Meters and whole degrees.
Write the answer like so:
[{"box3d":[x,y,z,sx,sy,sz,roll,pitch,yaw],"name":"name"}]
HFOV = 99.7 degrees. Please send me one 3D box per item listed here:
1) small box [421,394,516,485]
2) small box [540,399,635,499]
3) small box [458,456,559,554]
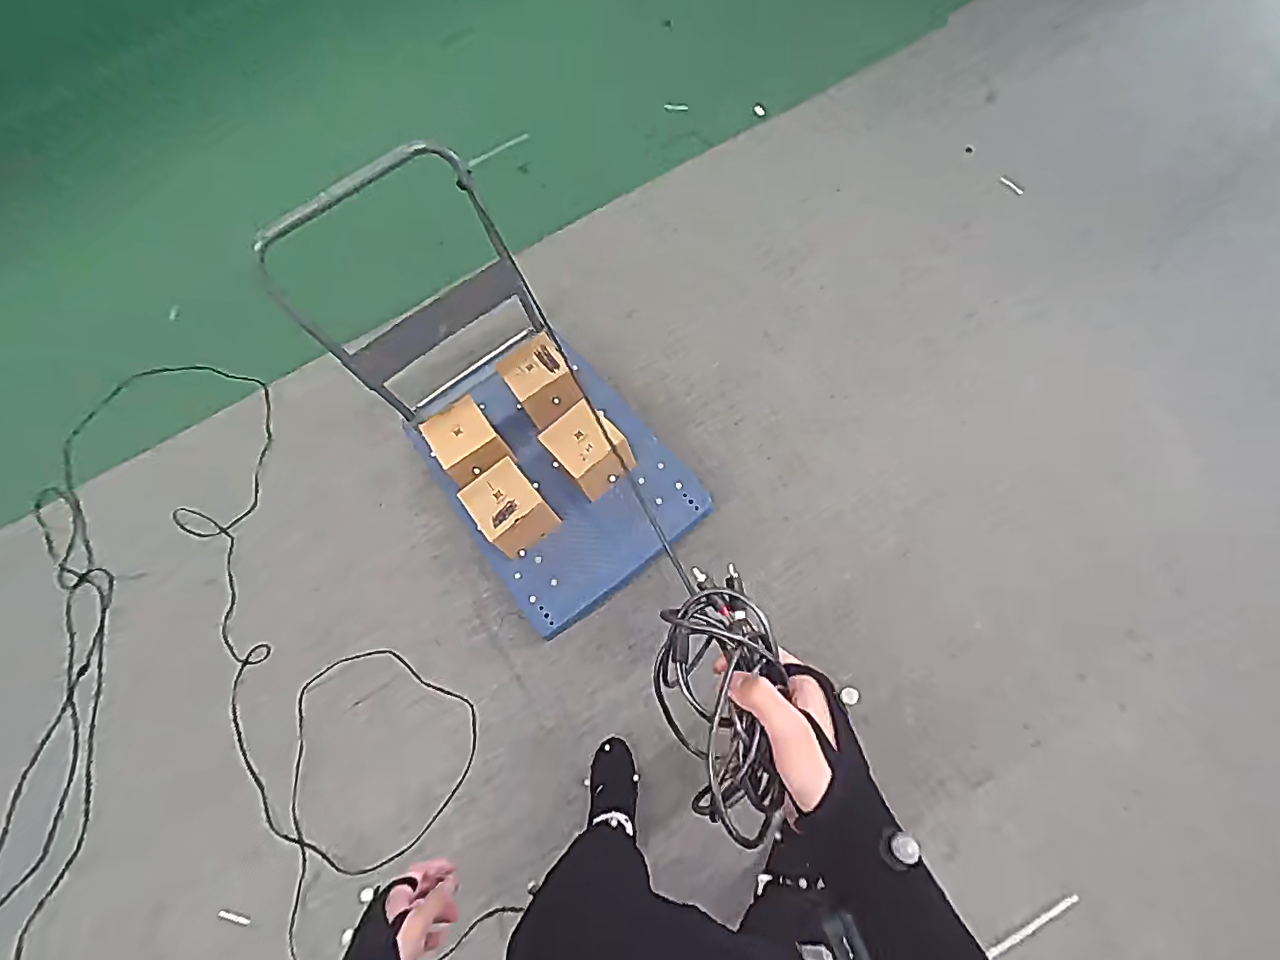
[{"box3d":[-0.477,-0.103,1.529,0.168,0.176,0.179,-35,65,-7],"name":"small box"},{"box3d":[-0.137,-0.079,1.457,0.168,0.176,0.179,-41,66,-8],"name":"small box"},{"box3d":[-0.337,0.075,1.424,0.168,0.176,0.179,-38,65,-9],"name":"small box"}]
